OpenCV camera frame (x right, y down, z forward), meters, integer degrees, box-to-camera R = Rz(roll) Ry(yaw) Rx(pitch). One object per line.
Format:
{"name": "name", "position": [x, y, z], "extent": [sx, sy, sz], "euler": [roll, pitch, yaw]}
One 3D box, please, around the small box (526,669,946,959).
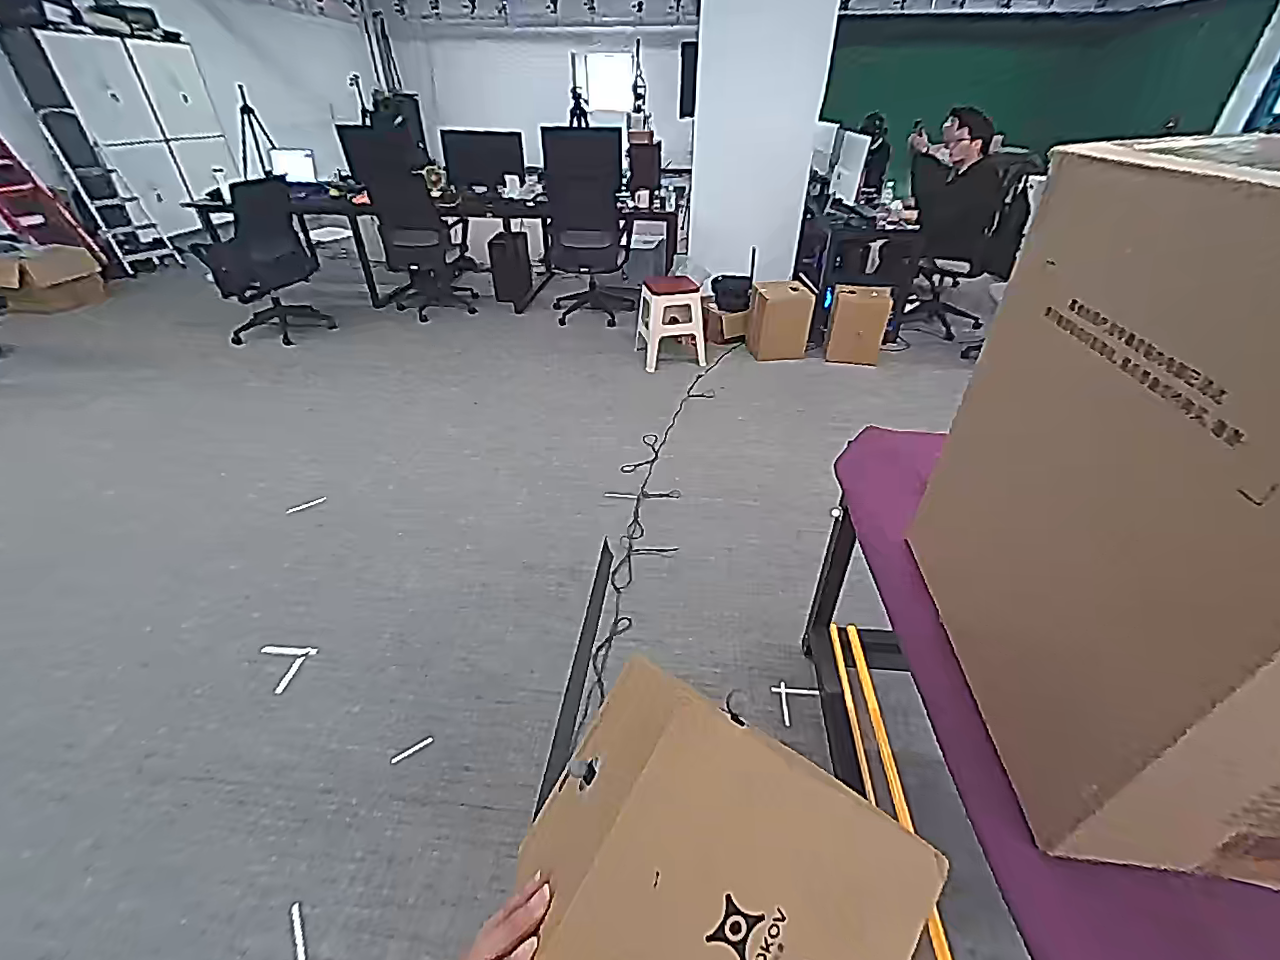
{"name": "small box", "position": [0.040, 0.238, 0.345], "extent": [0.179, 0.176, 0.168], "euler": [33, 73, -4]}
